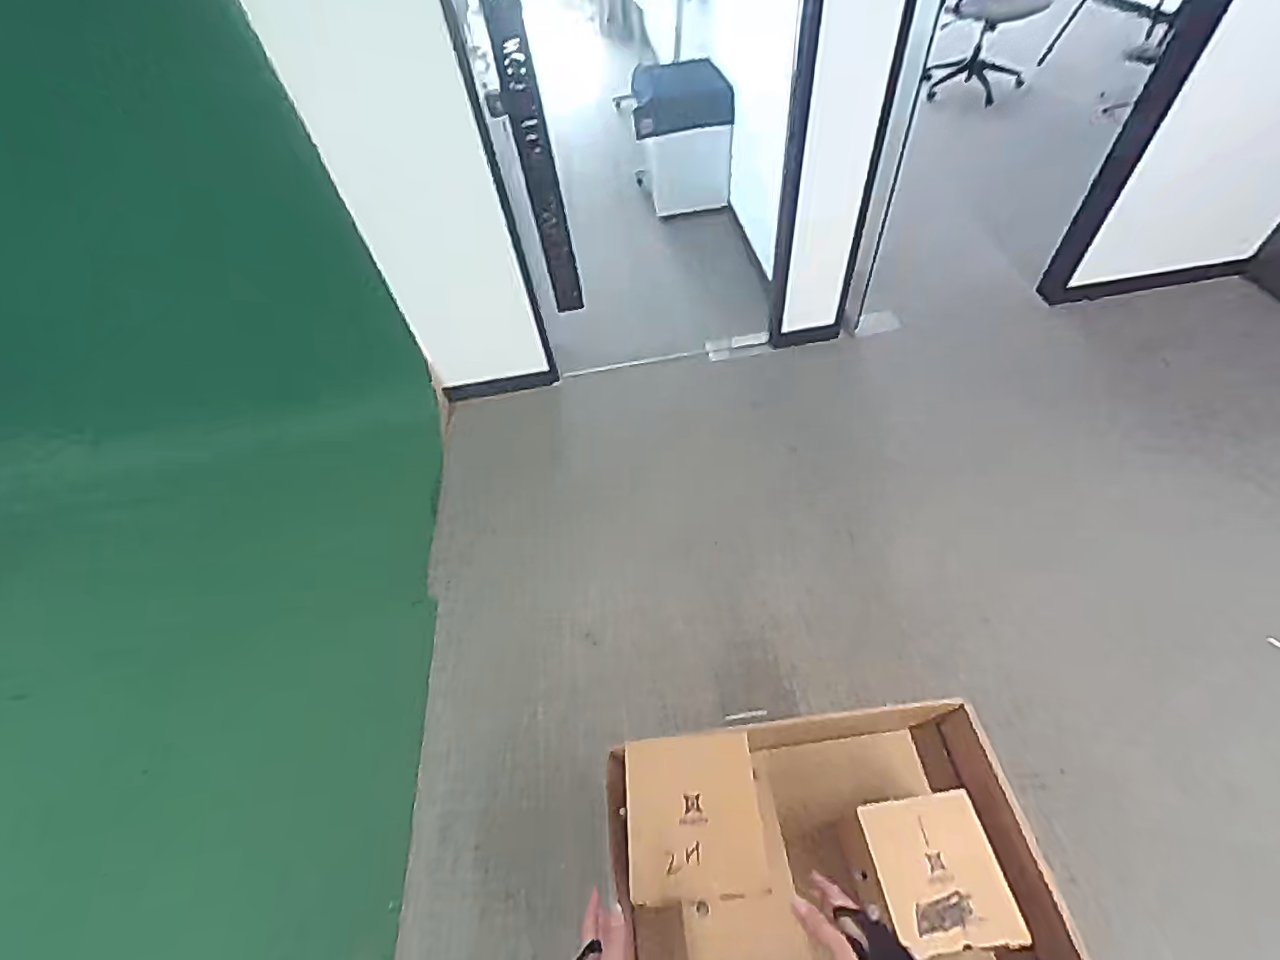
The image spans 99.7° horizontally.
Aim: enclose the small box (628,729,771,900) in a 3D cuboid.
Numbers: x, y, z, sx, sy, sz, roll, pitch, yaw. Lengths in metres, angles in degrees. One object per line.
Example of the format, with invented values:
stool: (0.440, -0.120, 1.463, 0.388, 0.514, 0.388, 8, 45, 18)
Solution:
small box: (0.074, 0.456, 0.734, 0.168, 0.176, 0.179, -6, 52, 4)
